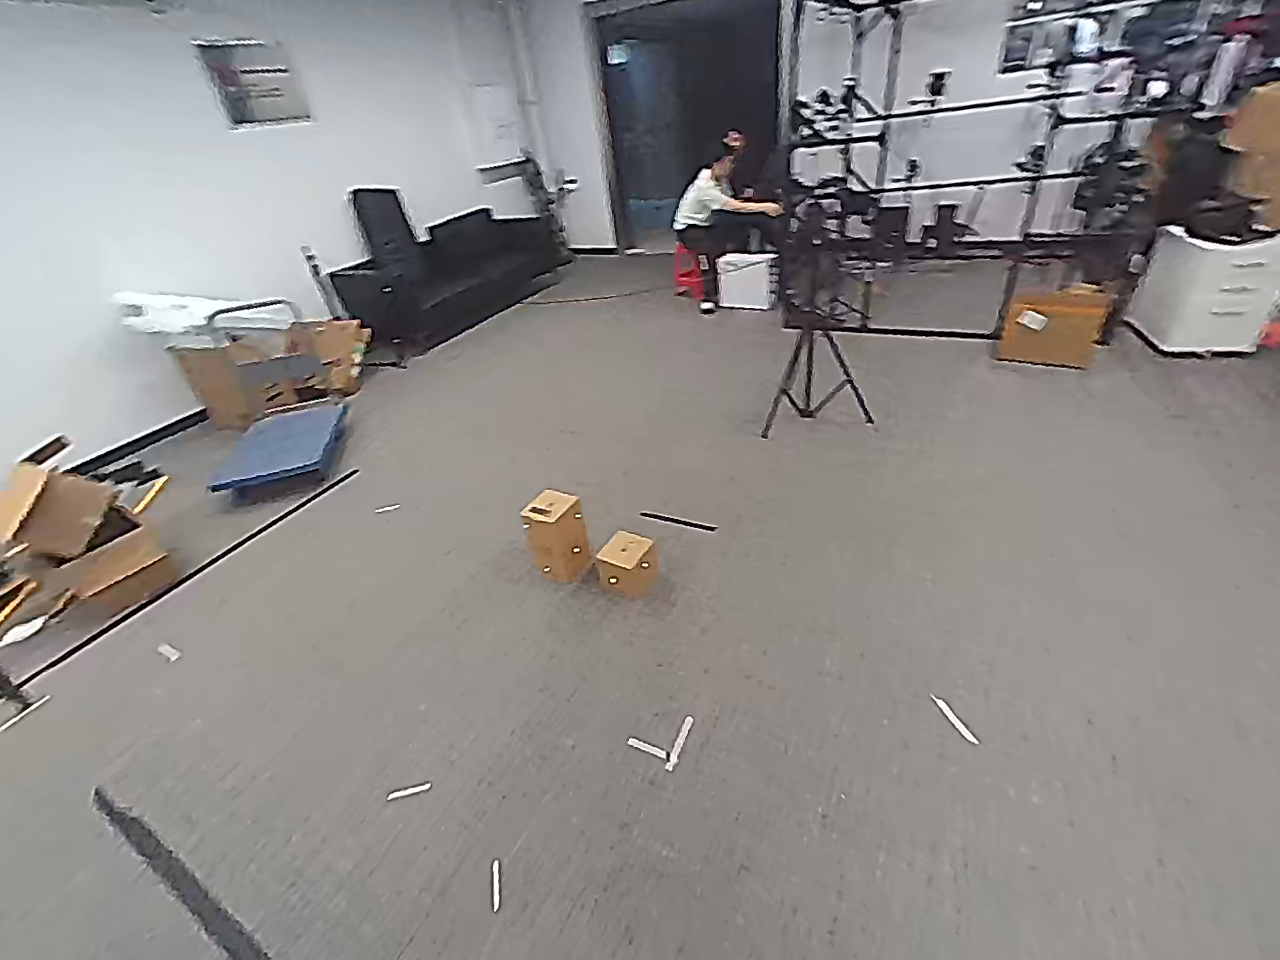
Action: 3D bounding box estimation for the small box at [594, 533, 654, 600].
[{"bbox_3d":[-0.055,0.340,2.120,0.168,0.176,0.179,14,40,29],"label":"small box"}]

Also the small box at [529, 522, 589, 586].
[{"bbox_3d":[-0.328,0.307,2.238,0.168,0.176,0.179,13,40,29],"label":"small box"}]
